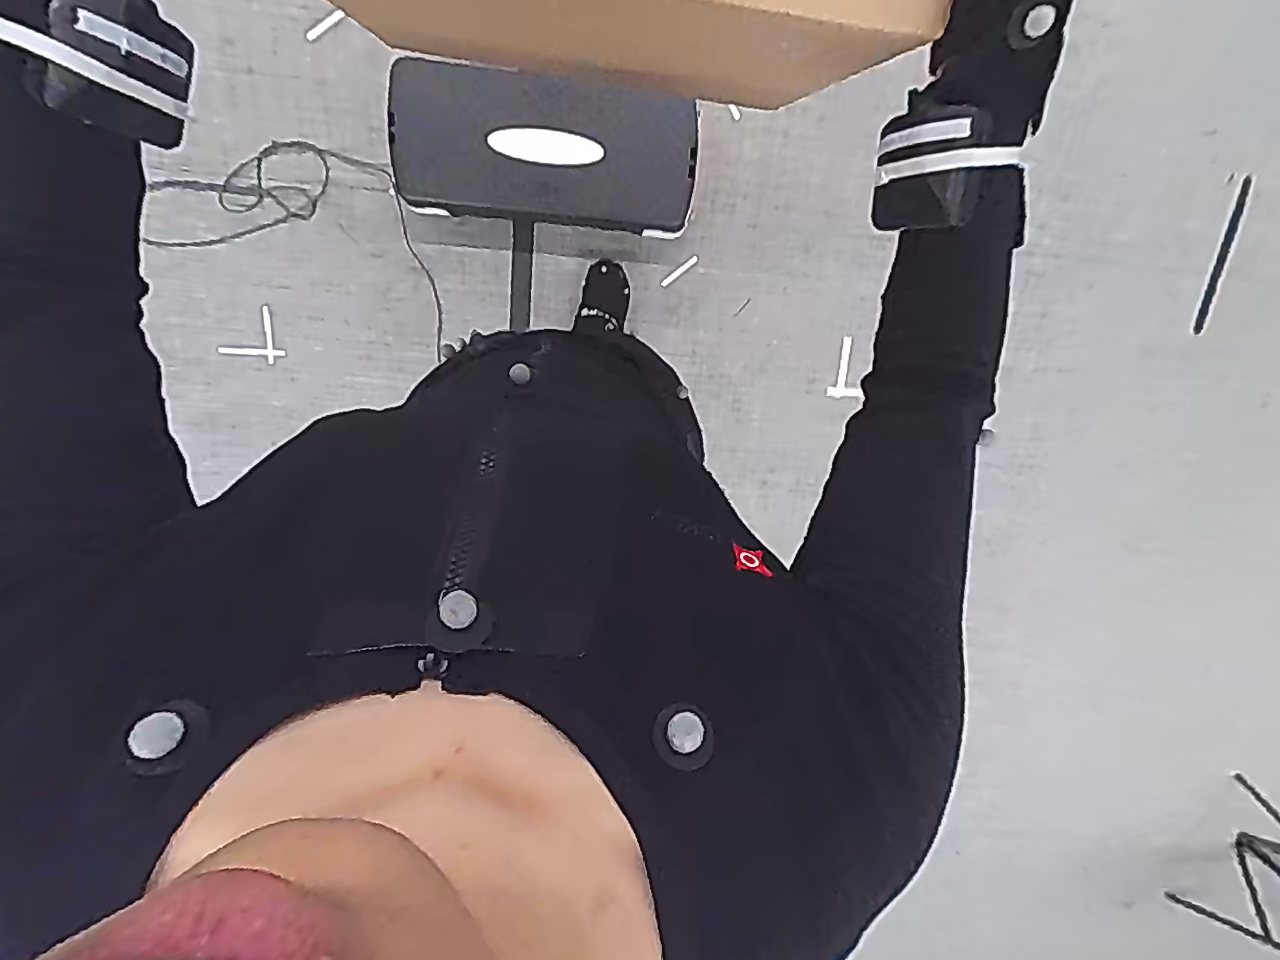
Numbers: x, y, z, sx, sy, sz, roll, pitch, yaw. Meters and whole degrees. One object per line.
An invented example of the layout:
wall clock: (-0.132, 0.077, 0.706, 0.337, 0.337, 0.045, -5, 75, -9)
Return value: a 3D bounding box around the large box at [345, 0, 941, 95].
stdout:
large box: (-0.019, -0.488, 0.361, 0.408, 0.320, 0.320, 2, 119, -8)
